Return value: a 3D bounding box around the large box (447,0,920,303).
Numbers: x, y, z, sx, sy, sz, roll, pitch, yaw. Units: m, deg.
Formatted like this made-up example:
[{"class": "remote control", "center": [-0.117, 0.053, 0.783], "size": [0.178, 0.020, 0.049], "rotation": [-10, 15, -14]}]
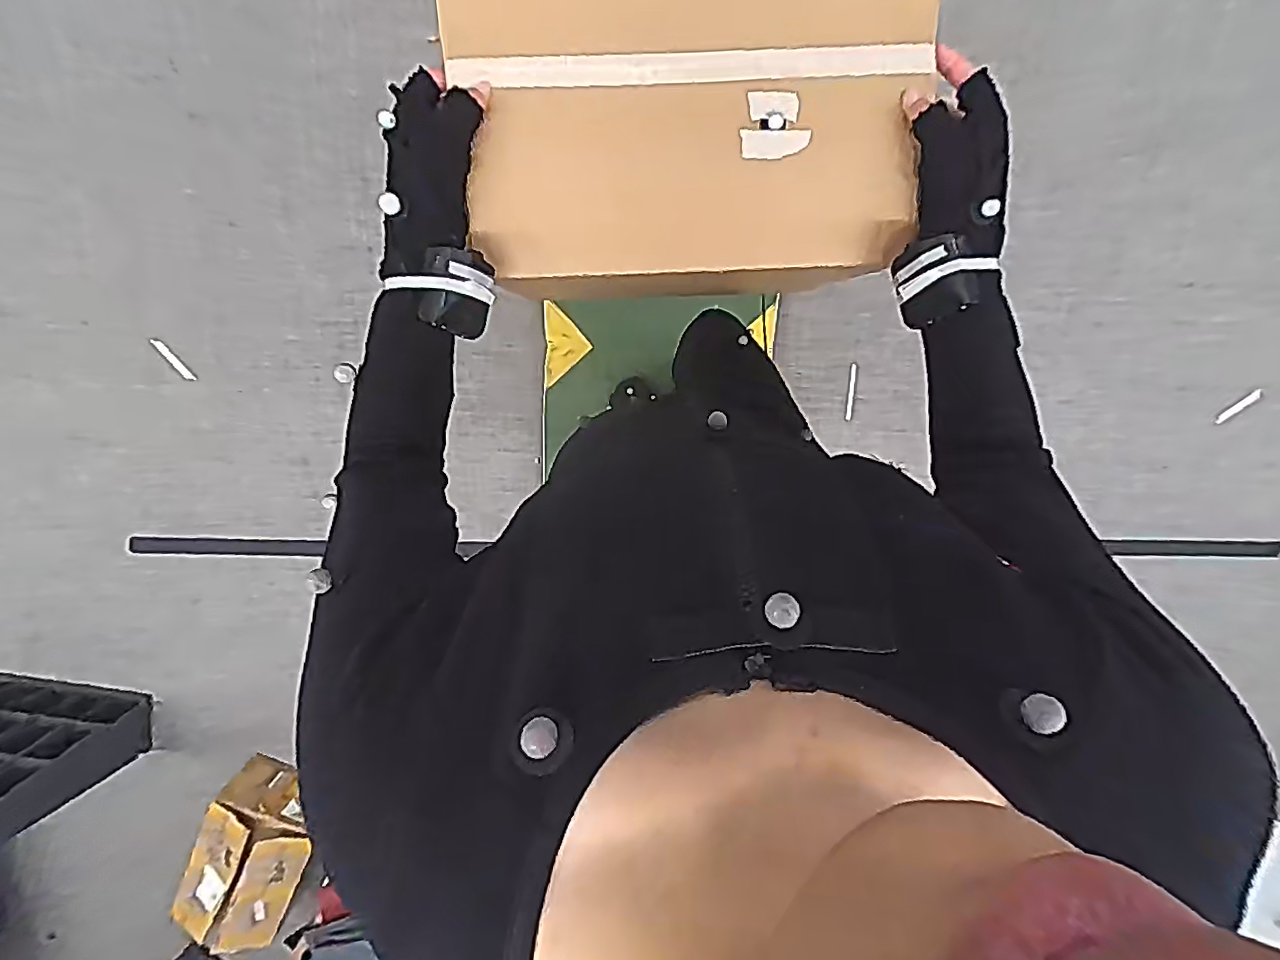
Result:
[{"class": "large box", "center": [0.033, -0.384, 0.609], "size": [0.408, 0.320, 0.320], "rotation": [-4, 105, -3]}]
